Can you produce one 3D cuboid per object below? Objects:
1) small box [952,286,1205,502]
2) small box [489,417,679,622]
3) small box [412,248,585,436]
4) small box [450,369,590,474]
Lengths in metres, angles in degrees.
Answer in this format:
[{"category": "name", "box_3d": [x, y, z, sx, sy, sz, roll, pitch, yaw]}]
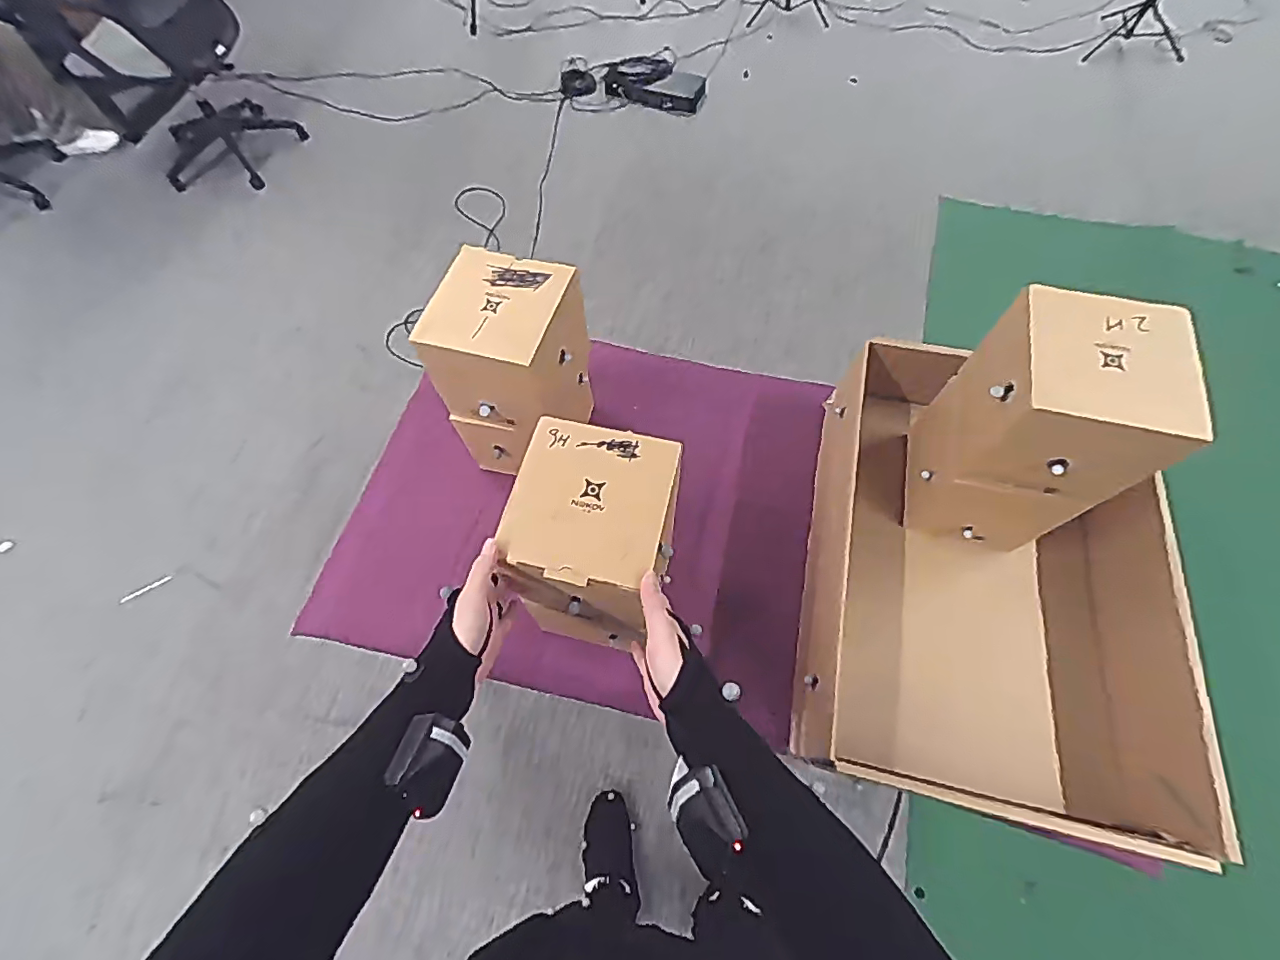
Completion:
[{"category": "small box", "box_3d": [0.495, -0.093, 0.641, 0.168, 0.176, 0.179, 14, 65, 9]}, {"category": "small box", "box_3d": [-0.052, 0.055, 0.637, 0.168, 0.176, 0.179, 12, 64, 6]}, {"category": "small box", "box_3d": [-0.183, -0.190, 0.767, 0.168, 0.176, 0.179, 14, 64, 9]}, {"category": "small box", "box_3d": [-0.188, -0.113, 0.912, 0.168, 0.176, 0.179, 10, 63, 7]}]
